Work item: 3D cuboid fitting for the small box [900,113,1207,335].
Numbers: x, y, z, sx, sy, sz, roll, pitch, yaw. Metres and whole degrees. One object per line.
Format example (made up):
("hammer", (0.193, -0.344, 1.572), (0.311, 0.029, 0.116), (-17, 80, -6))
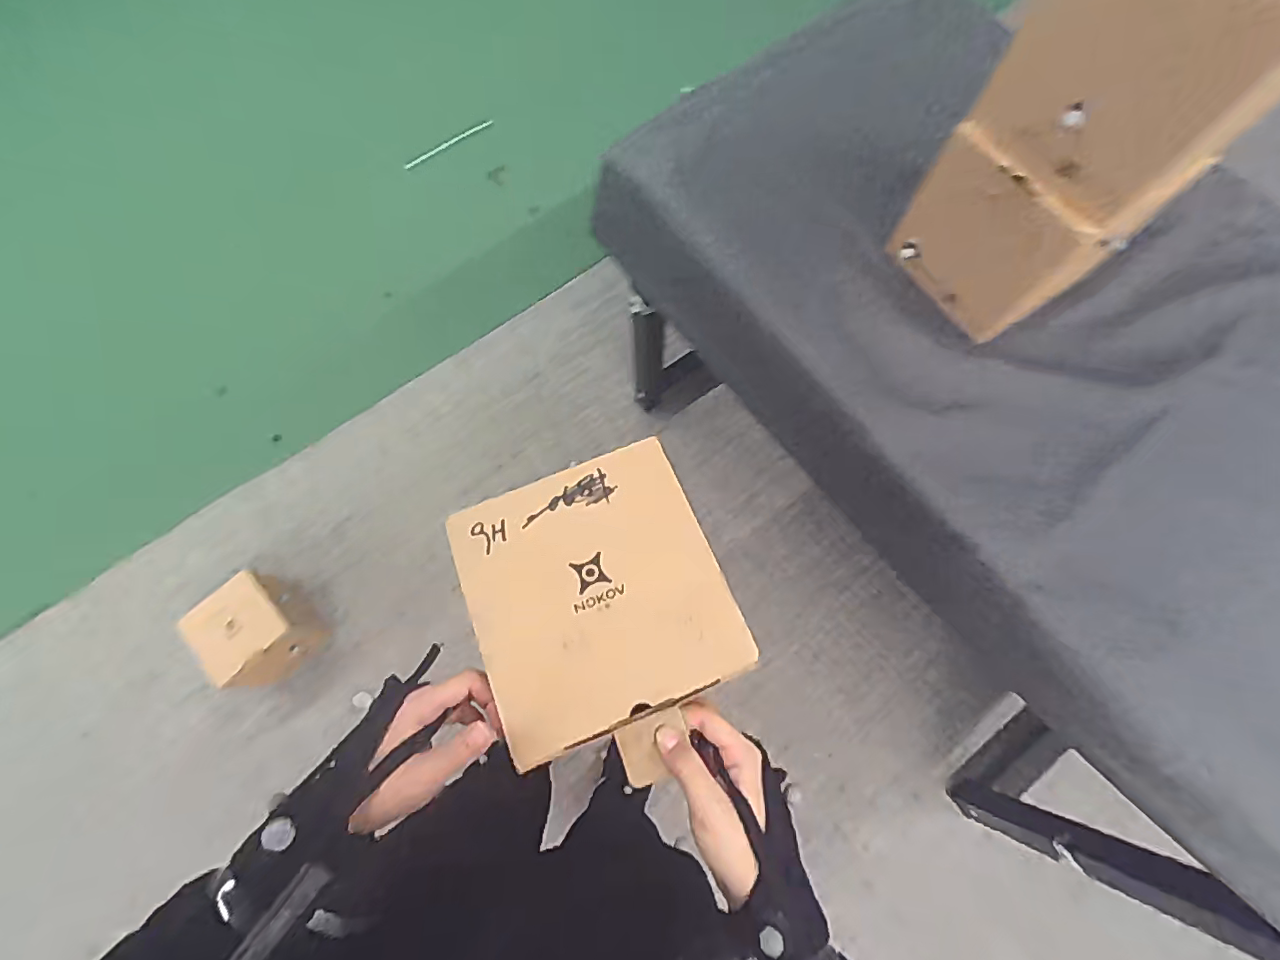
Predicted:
("small box", (0.417, -0.291, 0.588), (0.179, 0.176, 0.168), (-31, 75, -10))

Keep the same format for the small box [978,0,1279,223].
("small box", (0.428, -0.354, 0.435), (0.179, 0.176, 0.168), (-34, 74, -10))

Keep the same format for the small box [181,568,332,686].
("small box", (-0.817, 0.318, 1.172), (0.168, 0.176, 0.179), (-43, 75, -13))

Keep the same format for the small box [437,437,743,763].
("small box", (-0.036, 0.098, 0.440), (0.168, 0.176, 0.179), (-22, 70, -7))
